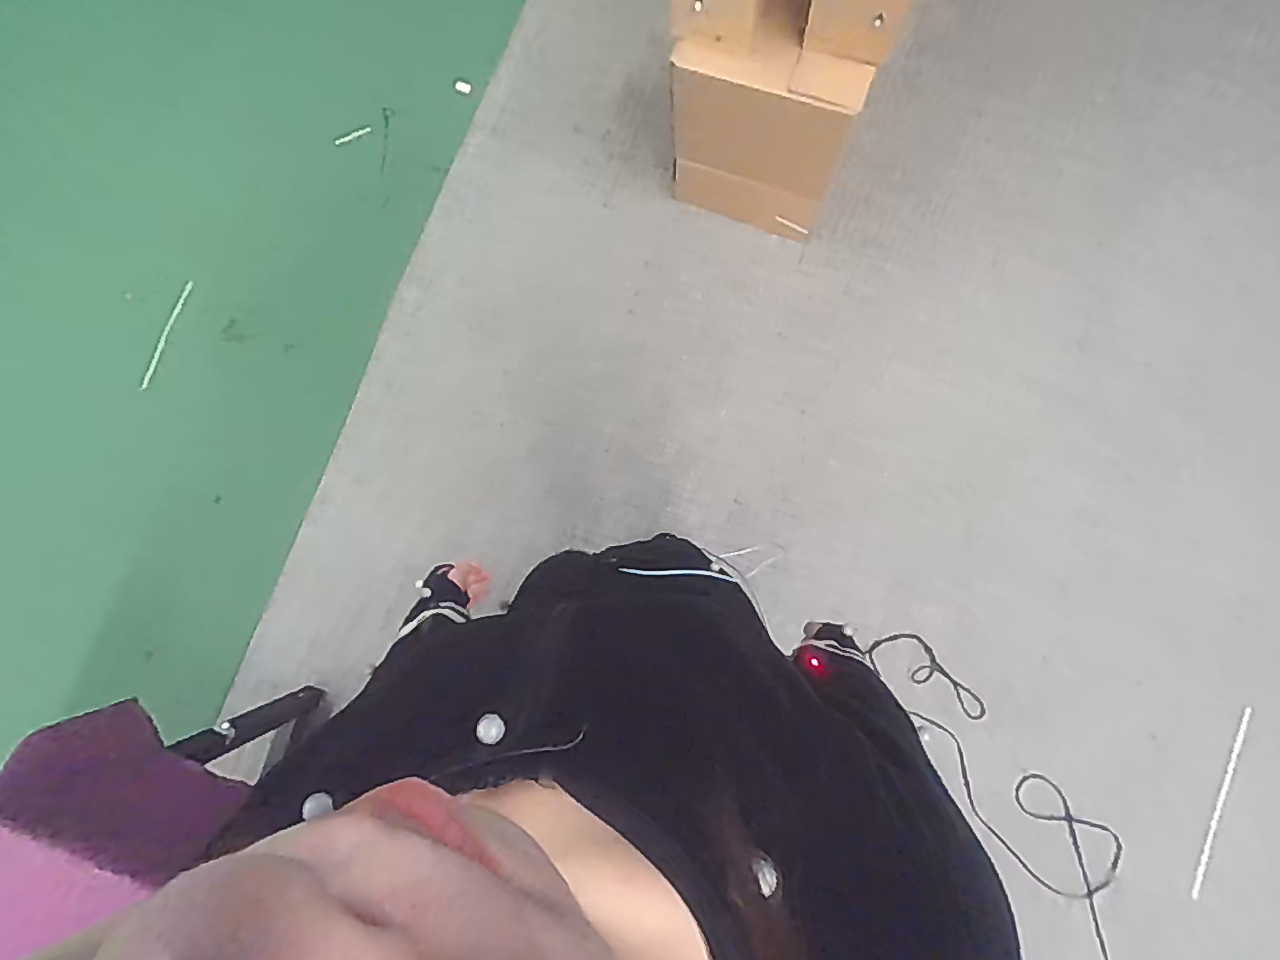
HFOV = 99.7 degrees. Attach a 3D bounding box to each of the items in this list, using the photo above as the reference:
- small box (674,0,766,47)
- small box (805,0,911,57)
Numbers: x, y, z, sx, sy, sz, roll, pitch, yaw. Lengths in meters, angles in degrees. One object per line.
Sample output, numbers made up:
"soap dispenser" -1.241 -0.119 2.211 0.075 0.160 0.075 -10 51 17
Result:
"small box" 0.168 -0.993 1.038 0.168 0.176 0.179 22 87 5
"small box" 0.433 -0.950 1.018 0.179 0.176 0.168 20 86 7
